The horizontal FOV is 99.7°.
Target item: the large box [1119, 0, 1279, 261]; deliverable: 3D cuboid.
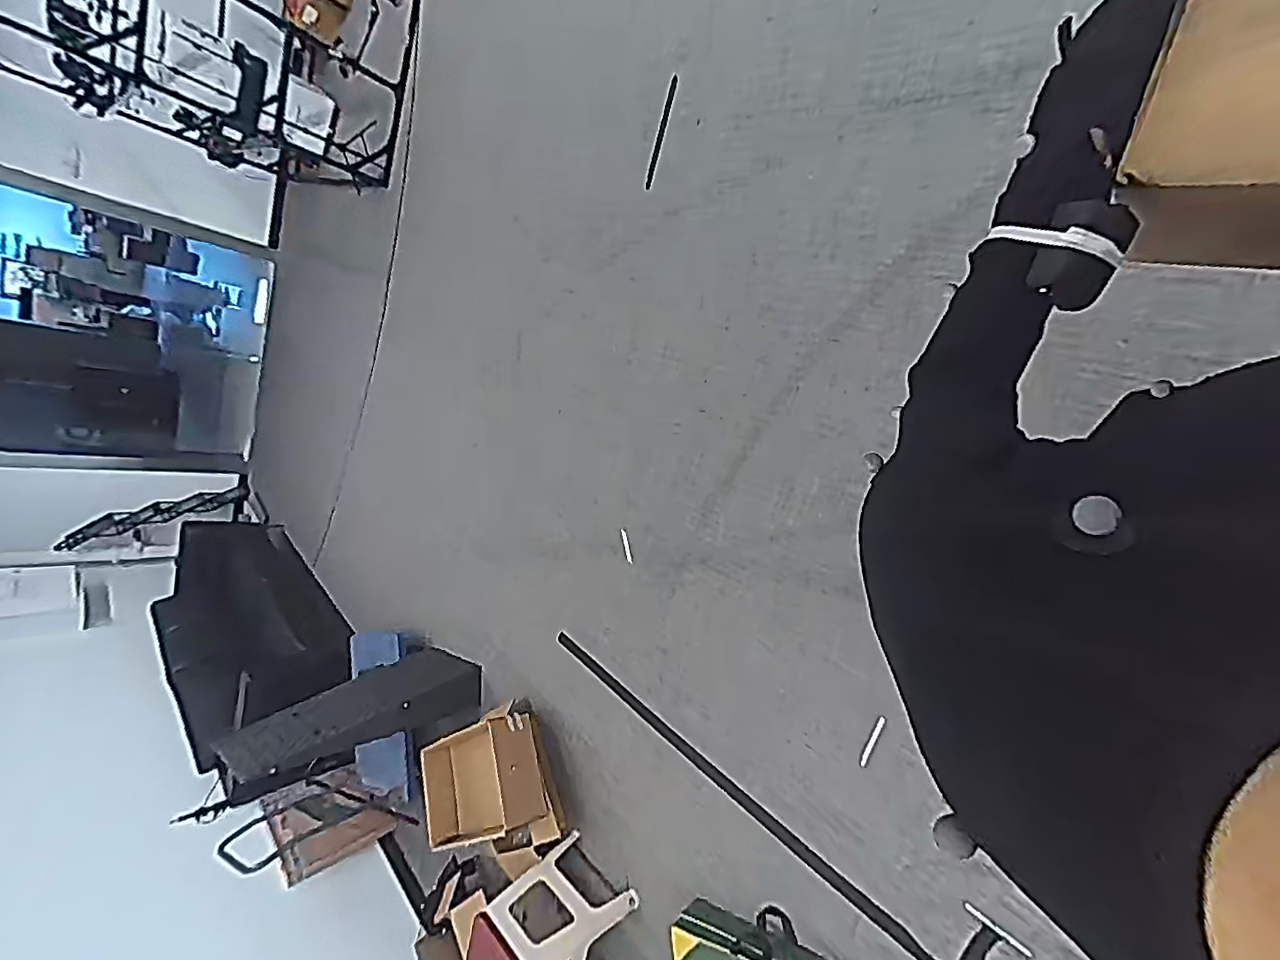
[{"bbox_3d":[0.618,-0.326,0.346,0.408,0.320,0.320,23,113,38],"label":"large box"}]
